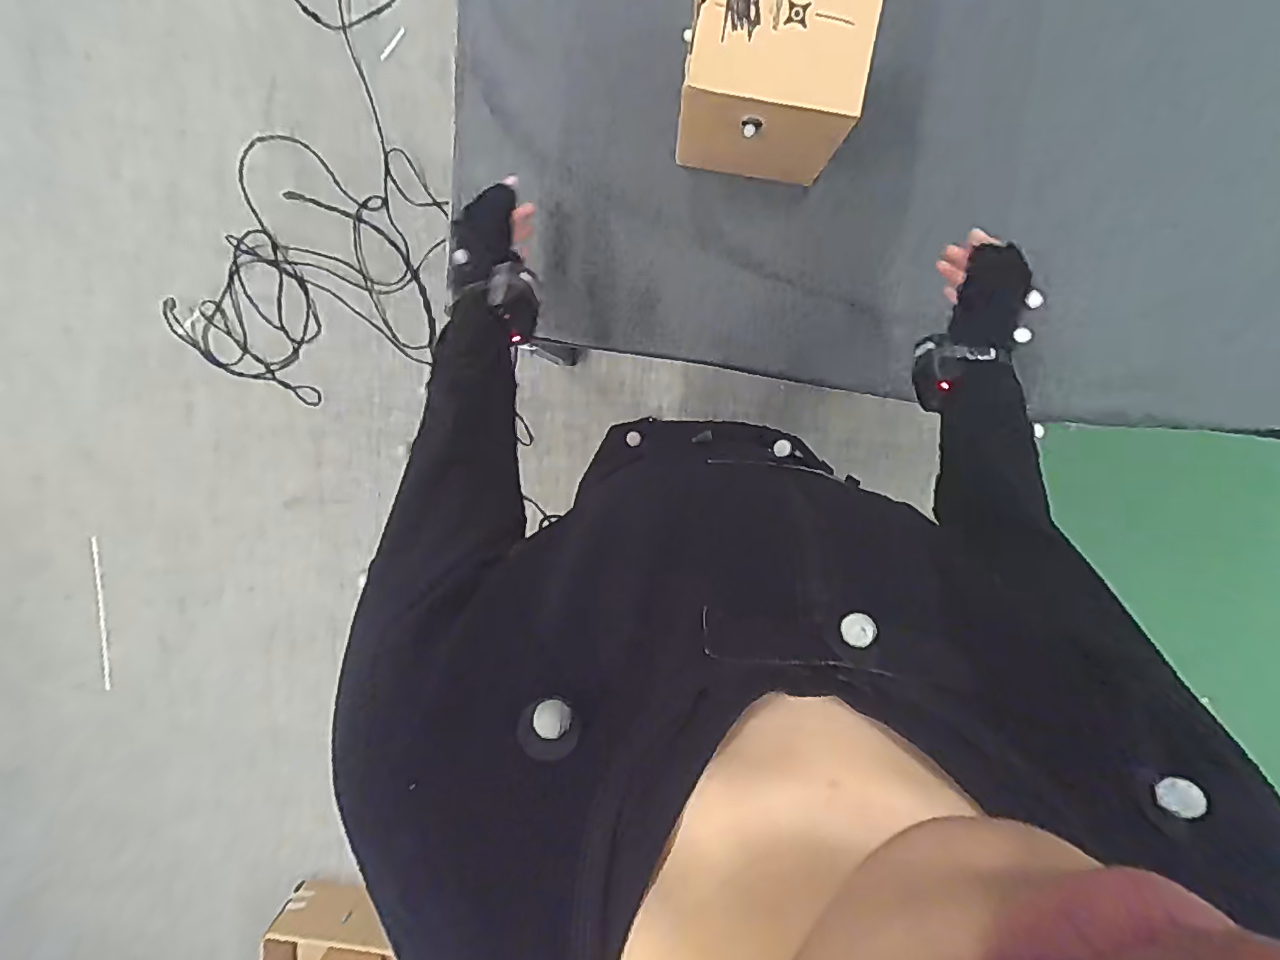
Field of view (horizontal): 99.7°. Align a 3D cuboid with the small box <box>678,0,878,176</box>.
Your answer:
[{"bbox_3d":[0.142,-0.466,0.601,0.179,0.176,0.168,9,97,-1],"label":"small box"}]
